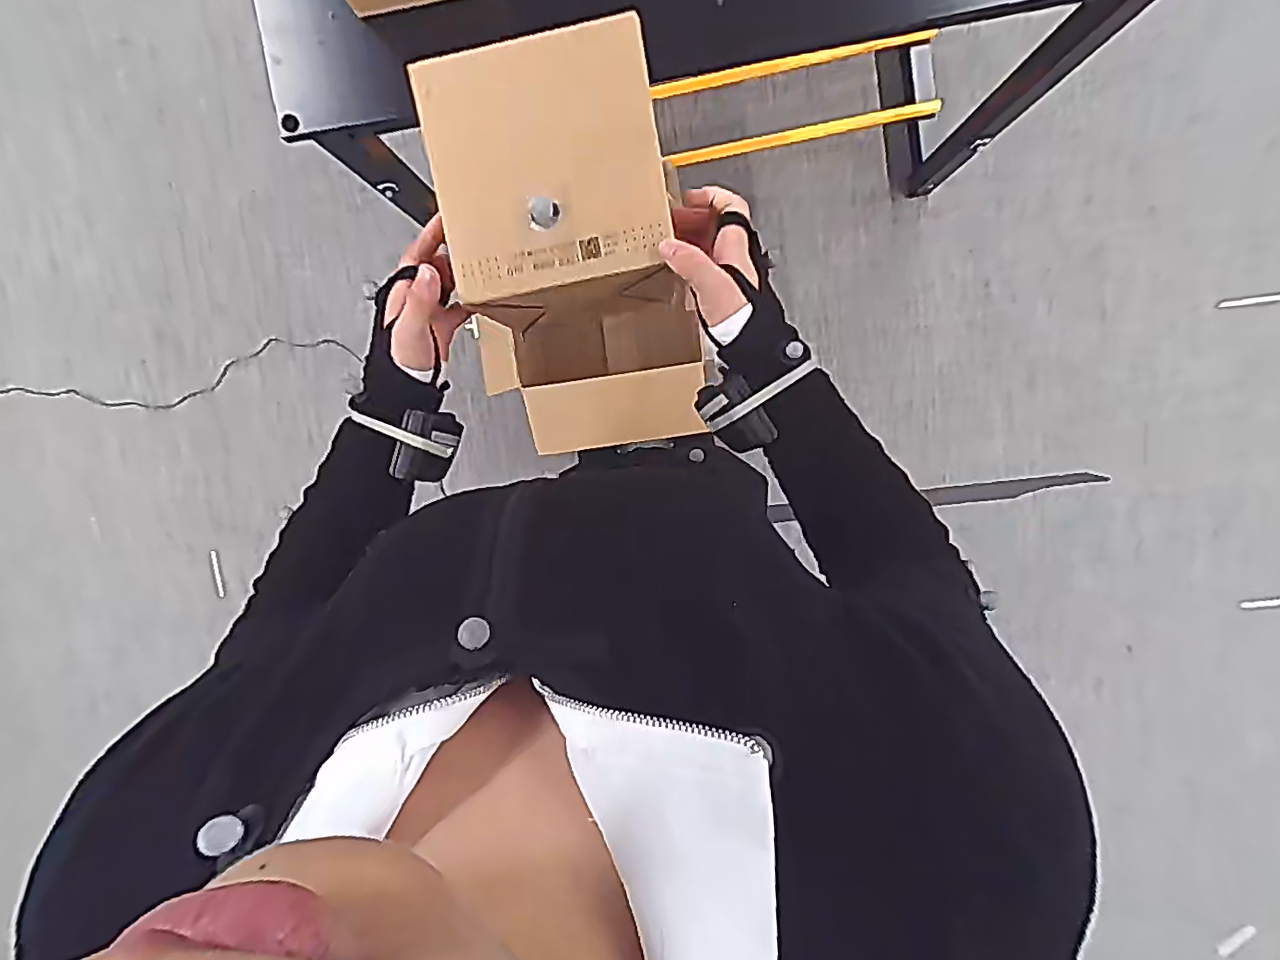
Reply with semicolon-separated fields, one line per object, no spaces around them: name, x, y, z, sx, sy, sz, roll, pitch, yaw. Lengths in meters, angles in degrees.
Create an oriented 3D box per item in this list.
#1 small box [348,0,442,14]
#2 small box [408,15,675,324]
small box;-0.297;-0.684;0.611;0.179;0.176;0.168;-9;95;3
small box;-0.066;-0.237;0.467;0.168;0.179;0.176;-11;102;5
